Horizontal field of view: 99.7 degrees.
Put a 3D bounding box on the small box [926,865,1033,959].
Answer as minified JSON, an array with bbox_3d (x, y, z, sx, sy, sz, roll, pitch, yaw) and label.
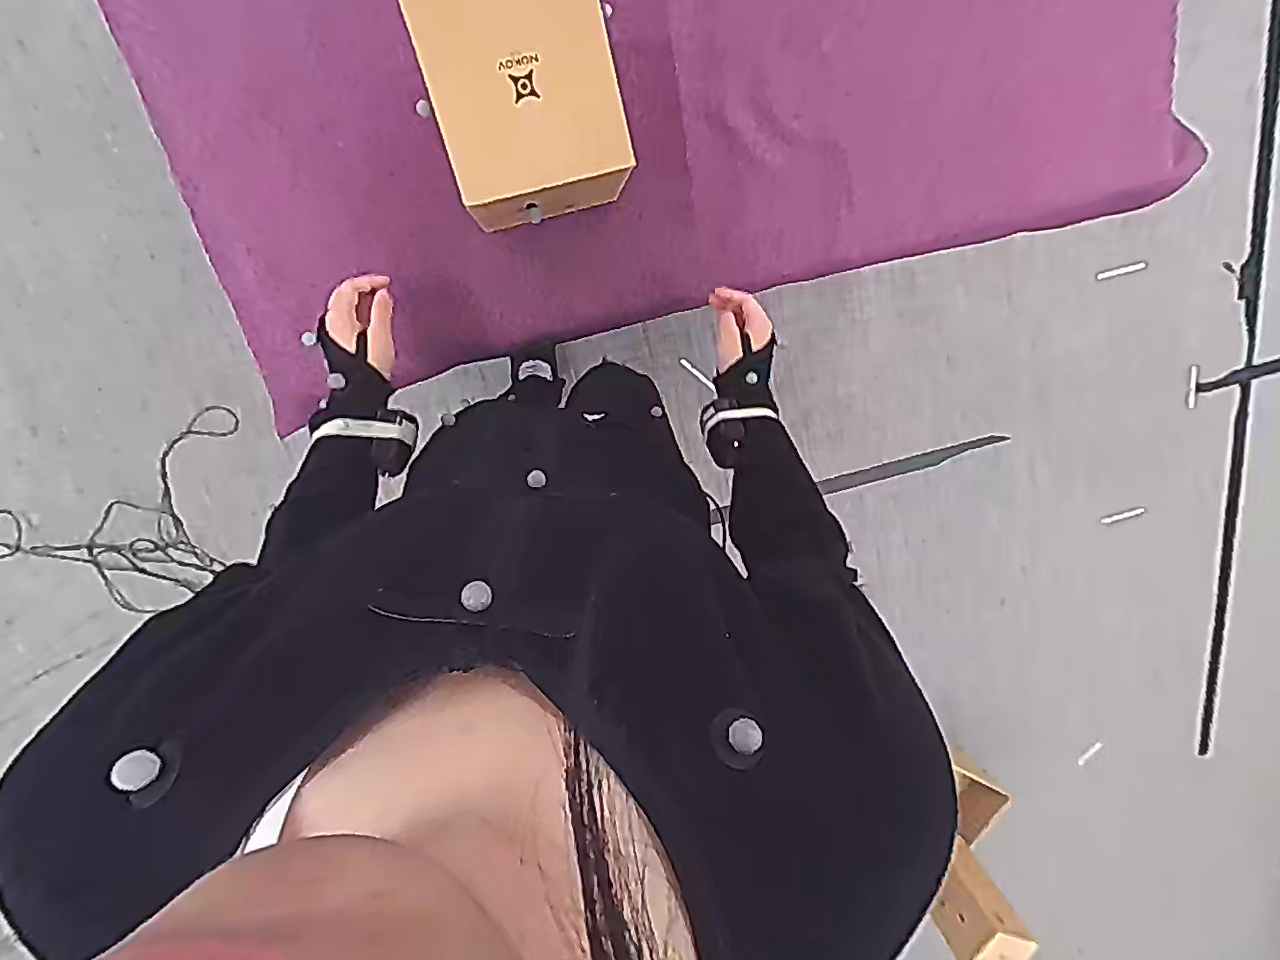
[{"bbox_3d":[1.008,1.302,1.624,0.179,0.176,0.168,25,104,-15],"label":"small box"}]

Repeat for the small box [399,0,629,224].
[{"bbox_3d":[-0.116,-0.375,0.553,0.168,0.176,0.179,-16,108,-4],"label":"small box"}]

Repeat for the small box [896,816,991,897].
[{"bbox_3d":[0.987,1.249,1.779,0.179,0.176,0.168,25,103,-16],"label":"small box"}]
